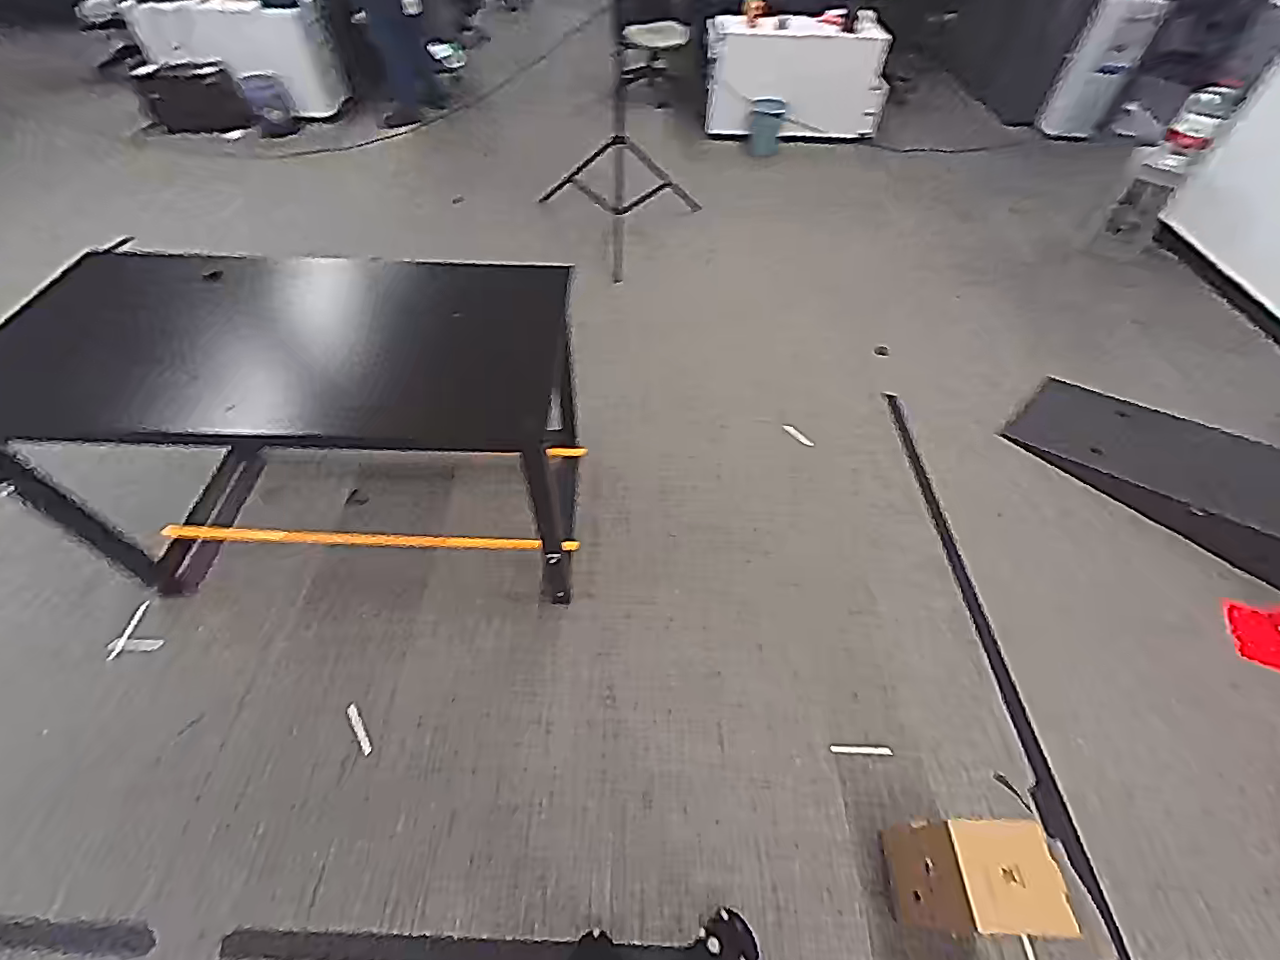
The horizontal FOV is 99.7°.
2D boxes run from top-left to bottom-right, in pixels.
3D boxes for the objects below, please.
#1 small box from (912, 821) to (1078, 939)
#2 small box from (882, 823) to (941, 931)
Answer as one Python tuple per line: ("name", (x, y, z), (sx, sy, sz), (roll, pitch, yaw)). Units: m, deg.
("small box", (0.650, 0.749, 1.015), (0.179, 0.176, 0.168), (1, 50, 1))
("small box", (0.641, 0.844, 1.147), (0.168, 0.176, 0.179), (3, 51, 0))
